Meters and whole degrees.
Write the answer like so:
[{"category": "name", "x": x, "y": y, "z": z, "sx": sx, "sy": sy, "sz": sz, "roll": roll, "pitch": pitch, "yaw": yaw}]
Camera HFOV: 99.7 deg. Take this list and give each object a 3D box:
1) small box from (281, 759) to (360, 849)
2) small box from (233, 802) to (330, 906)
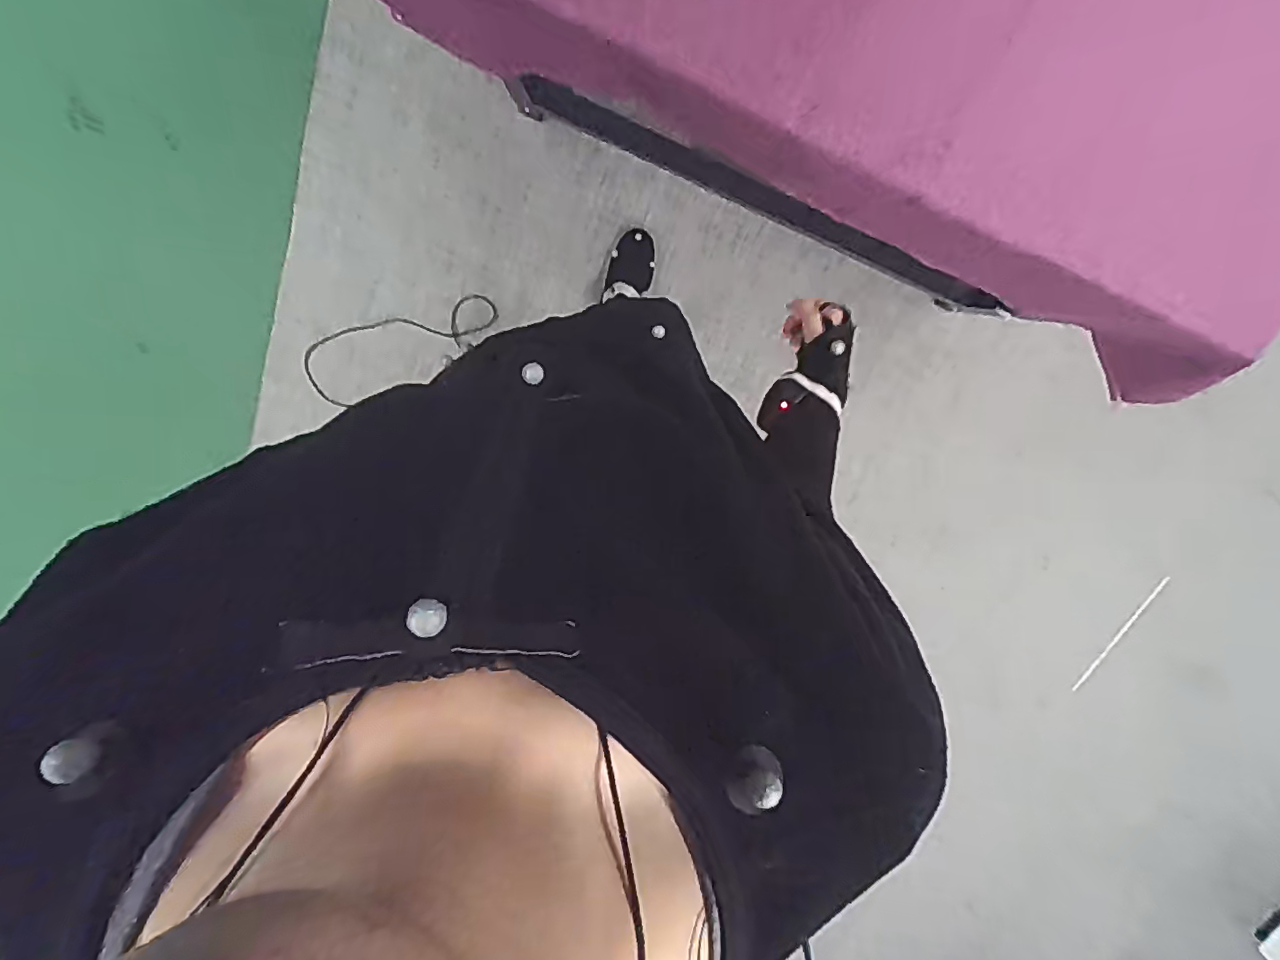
[{"category": "small box", "x": -1.023, "y": 1.025, "z": 1.720, "sx": 0.179, "sy": 0.176, "sz": 0.168, "roll": 18, "pitch": 107, "yaw": -10}, {"category": "small box", "x": -1.027, "y": 1.073, "z": 1.562, "sx": 0.168, "sy": 0.176, "sz": 0.179, "roll": 18, "pitch": 107, "yaw": -8}]
